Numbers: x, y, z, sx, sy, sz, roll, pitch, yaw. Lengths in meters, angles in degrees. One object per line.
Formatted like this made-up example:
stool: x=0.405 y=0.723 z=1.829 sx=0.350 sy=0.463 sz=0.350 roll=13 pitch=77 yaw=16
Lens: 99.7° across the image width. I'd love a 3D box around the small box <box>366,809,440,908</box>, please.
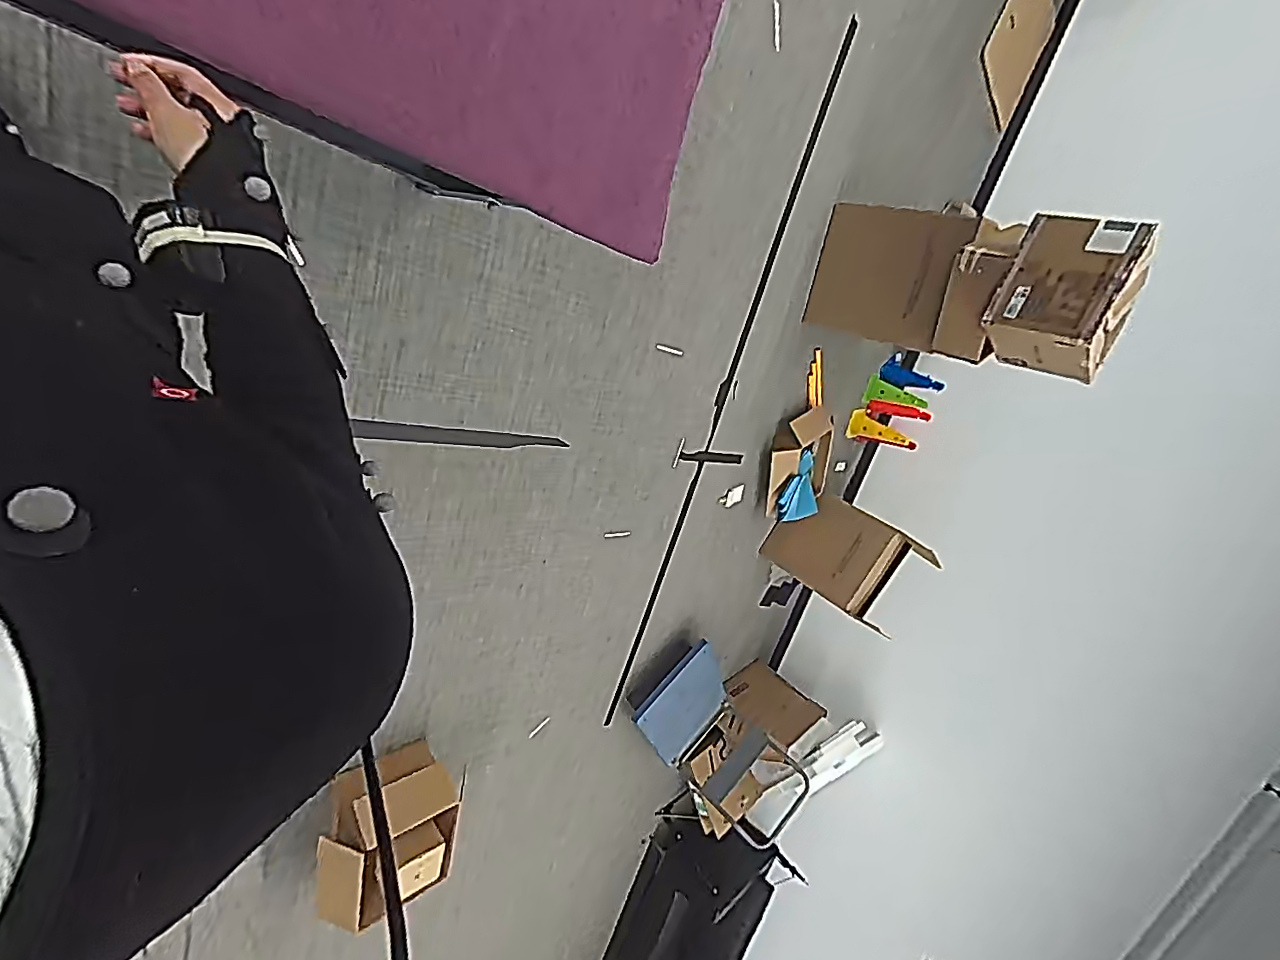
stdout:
small box: x=-0.795 y=1.253 z=1.803 sx=0.168 sy=0.176 sz=0.179 roll=-4 pitch=116 yaw=-47
